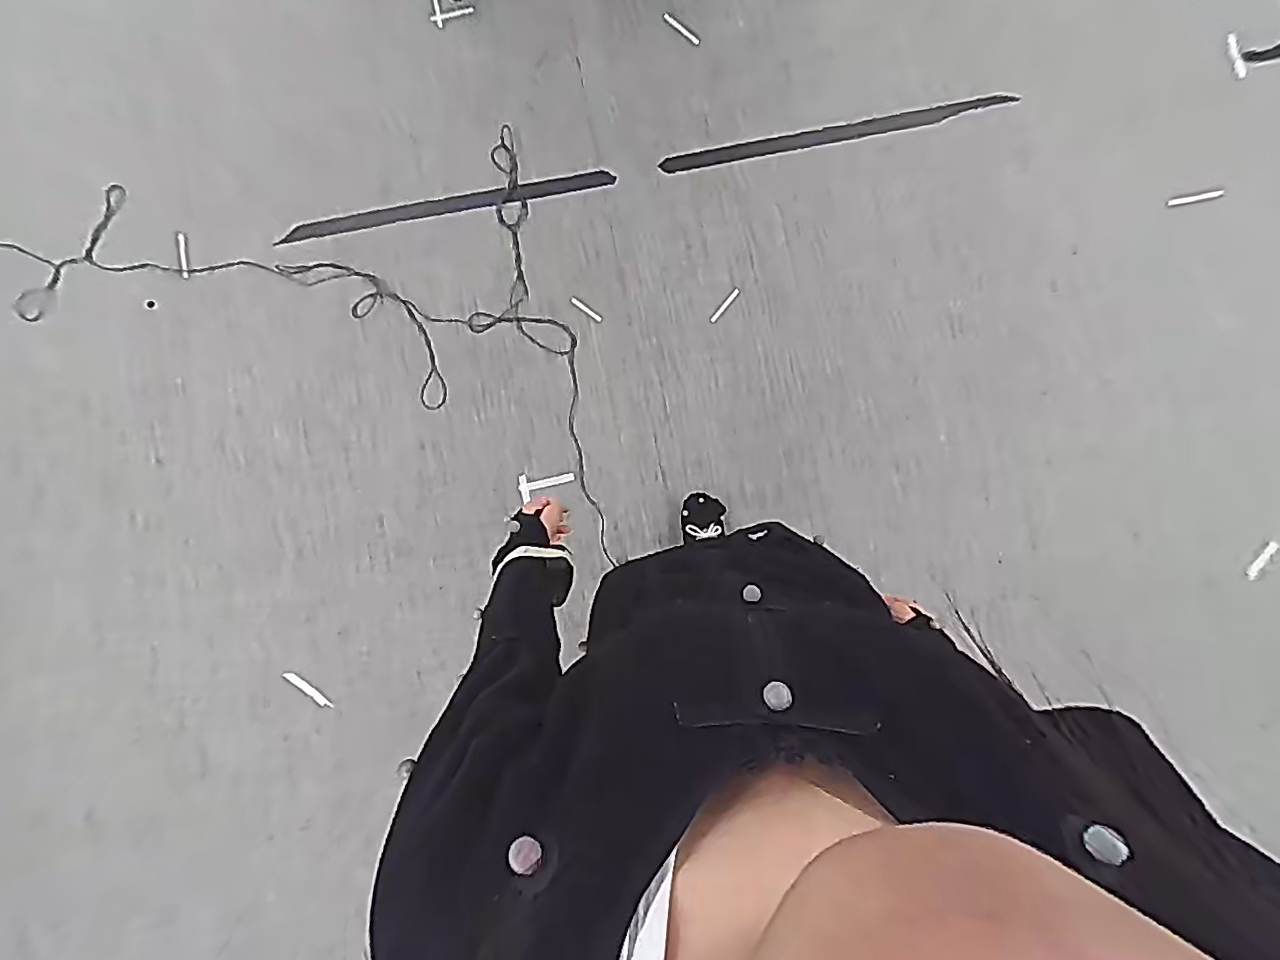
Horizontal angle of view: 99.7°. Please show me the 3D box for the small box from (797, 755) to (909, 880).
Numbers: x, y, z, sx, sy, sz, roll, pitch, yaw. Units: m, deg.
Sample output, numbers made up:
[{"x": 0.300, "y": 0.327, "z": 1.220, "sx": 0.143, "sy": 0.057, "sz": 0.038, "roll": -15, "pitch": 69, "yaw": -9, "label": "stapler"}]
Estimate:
[{"x": 0.458, "y": 0.737, "z": 1.198, "sx": 0.179, "sy": 0.176, "sz": 0.168, "roll": -10, "pitch": 86, "yaw": 1, "label": "small box"}]
